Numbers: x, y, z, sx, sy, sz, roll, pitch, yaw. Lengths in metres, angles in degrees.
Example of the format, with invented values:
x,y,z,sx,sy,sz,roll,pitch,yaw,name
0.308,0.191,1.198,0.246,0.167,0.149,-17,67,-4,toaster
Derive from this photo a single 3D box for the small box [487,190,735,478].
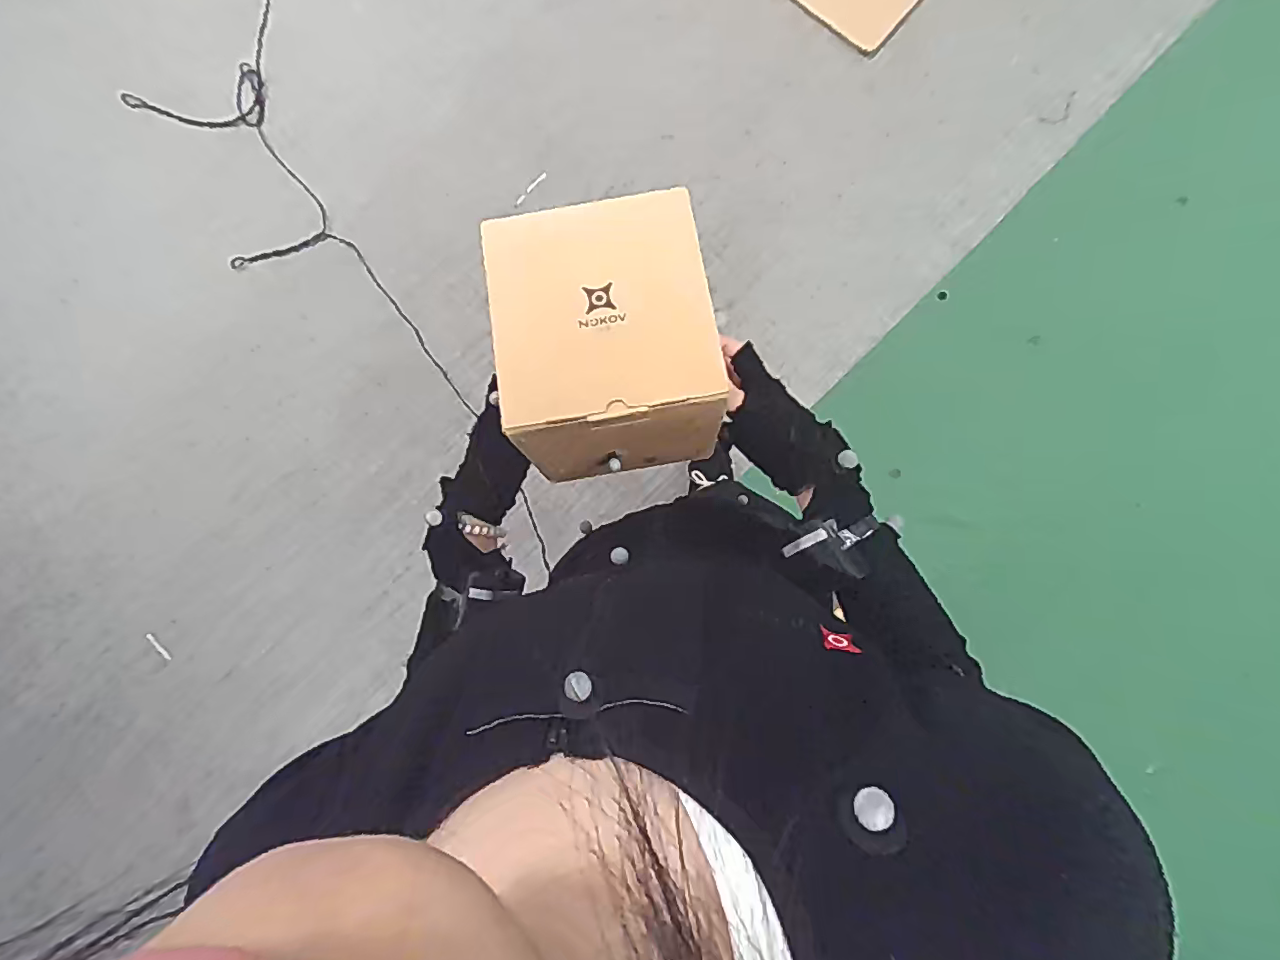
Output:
x,y,z,sx,sy,sz,roll,pitch,yaw,name
-0.024,-0.114,0.480,0.168,0.176,0.179,-11,78,0,small box
